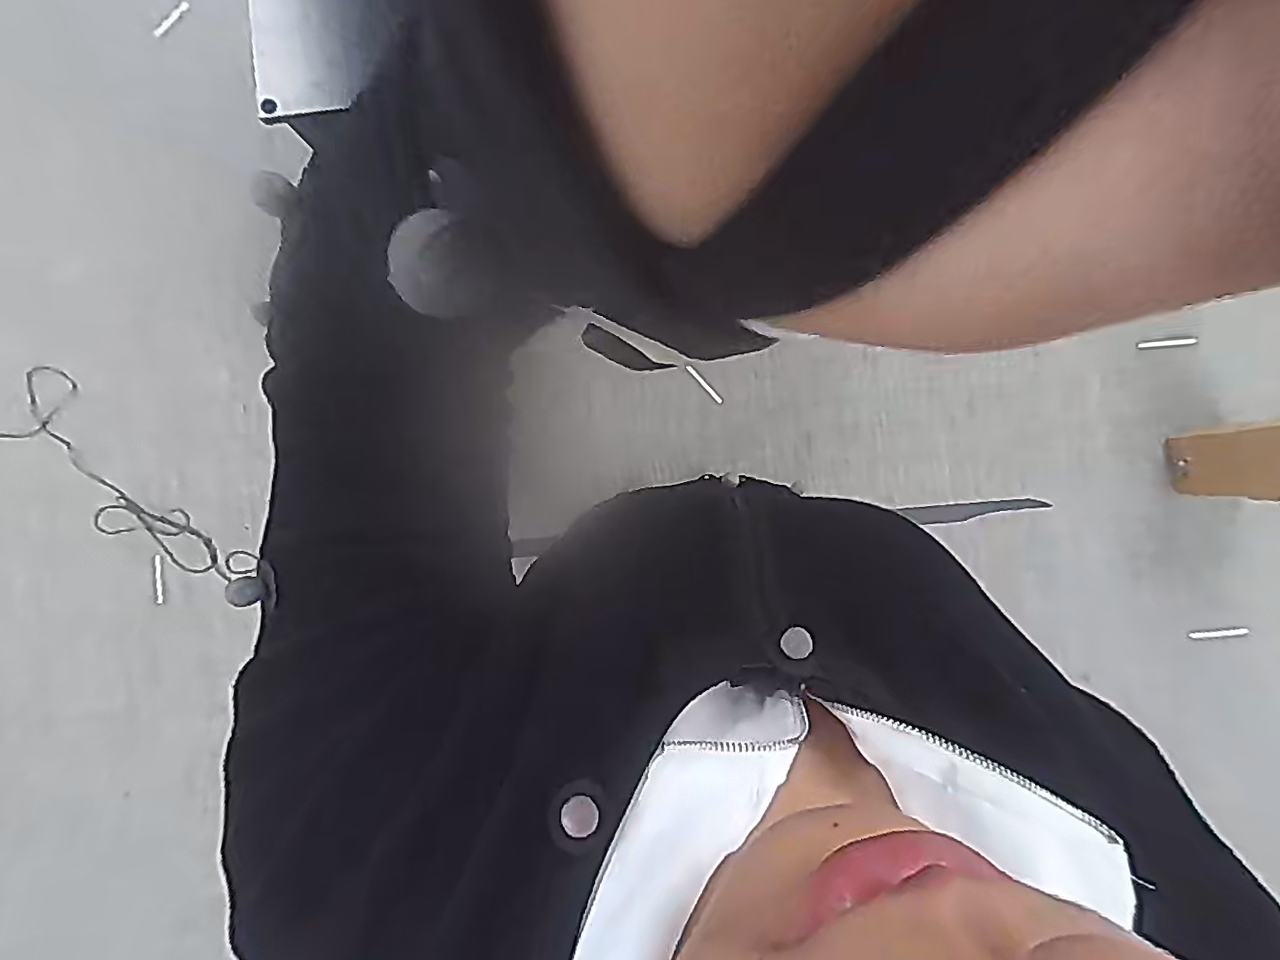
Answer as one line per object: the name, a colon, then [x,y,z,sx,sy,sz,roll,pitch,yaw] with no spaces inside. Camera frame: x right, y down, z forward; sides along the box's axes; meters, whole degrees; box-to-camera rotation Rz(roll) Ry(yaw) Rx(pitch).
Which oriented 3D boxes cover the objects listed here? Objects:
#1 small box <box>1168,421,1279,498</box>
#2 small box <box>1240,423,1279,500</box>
small box: [1.535,-0.053,1.389,0.179,0.176,0.168,-13,88,2]
small box: [1.533,-0.052,1.224,0.168,0.176,0.179,-11,89,2]
